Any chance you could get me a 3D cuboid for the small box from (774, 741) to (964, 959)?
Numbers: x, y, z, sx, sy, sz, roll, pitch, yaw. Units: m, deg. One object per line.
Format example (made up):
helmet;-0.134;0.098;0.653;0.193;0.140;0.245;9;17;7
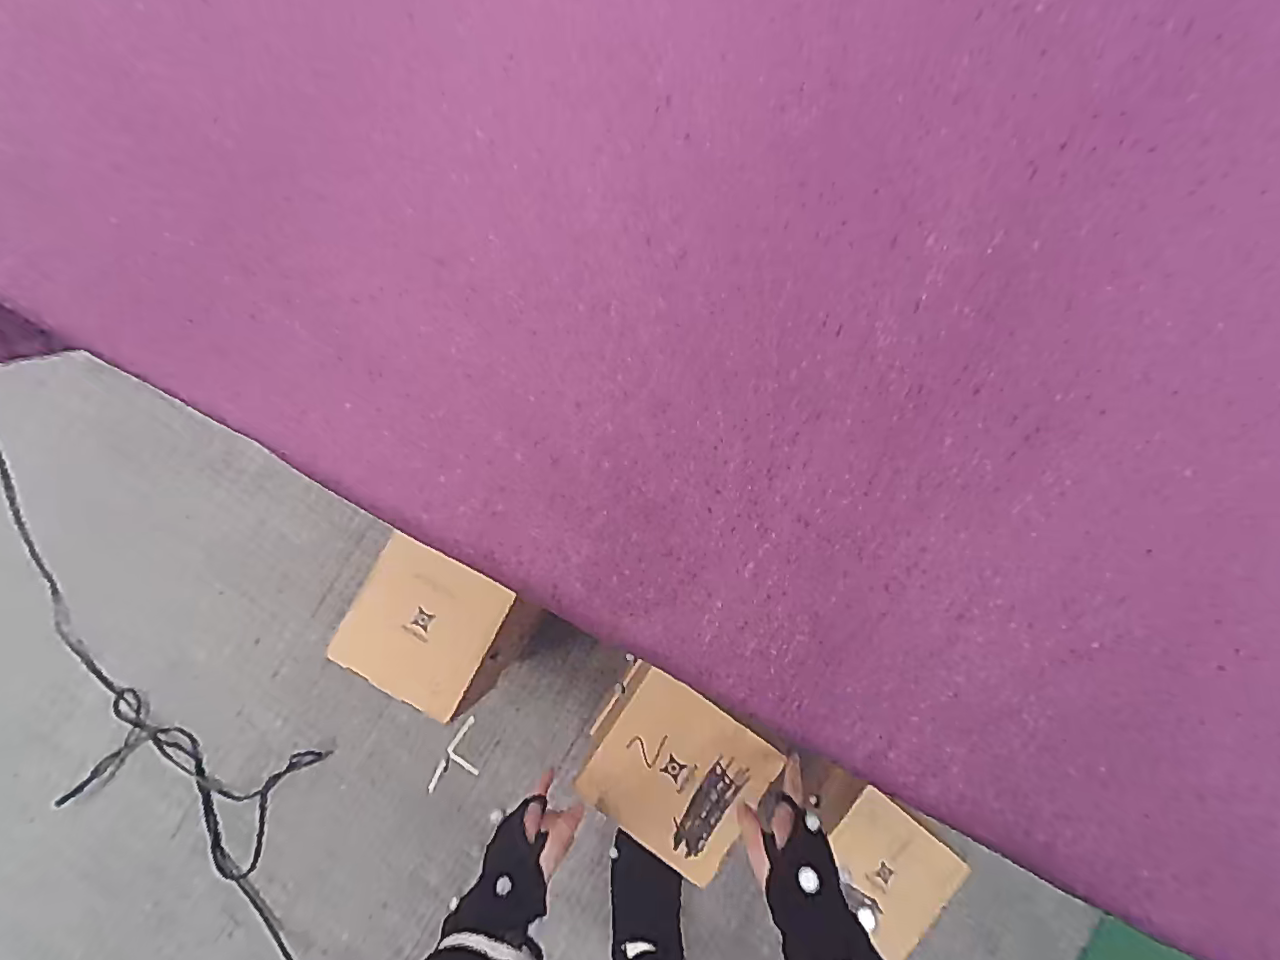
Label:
small box;0.315;0.527;0.791;0.168;0.176;0.179;39;86;7
